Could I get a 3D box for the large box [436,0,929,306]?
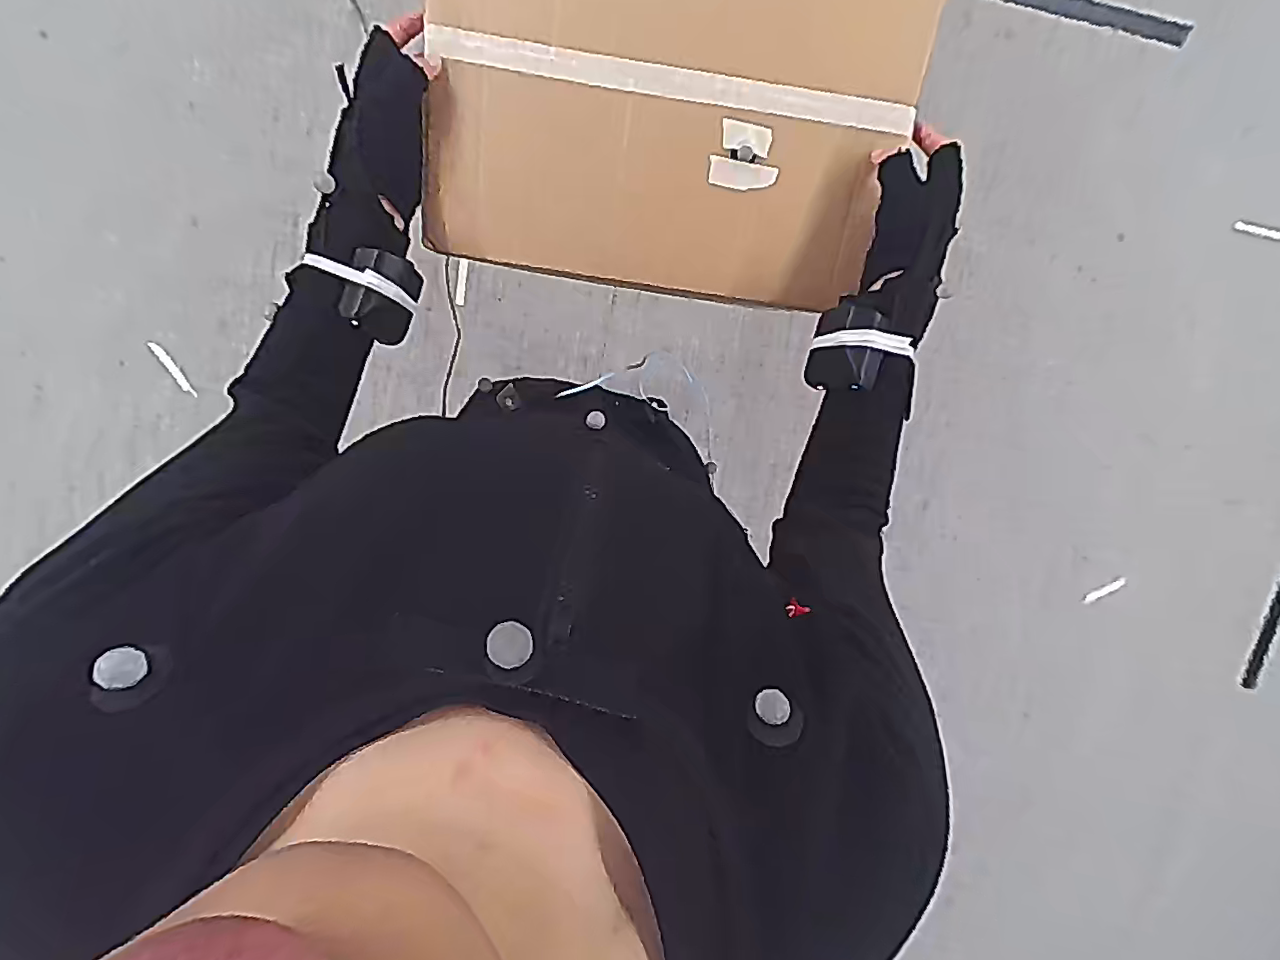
[{"bbox_3d":[0.024,-0.377,0.599,0.408,0.320,0.320,7,109,-3],"label":"large box"}]
